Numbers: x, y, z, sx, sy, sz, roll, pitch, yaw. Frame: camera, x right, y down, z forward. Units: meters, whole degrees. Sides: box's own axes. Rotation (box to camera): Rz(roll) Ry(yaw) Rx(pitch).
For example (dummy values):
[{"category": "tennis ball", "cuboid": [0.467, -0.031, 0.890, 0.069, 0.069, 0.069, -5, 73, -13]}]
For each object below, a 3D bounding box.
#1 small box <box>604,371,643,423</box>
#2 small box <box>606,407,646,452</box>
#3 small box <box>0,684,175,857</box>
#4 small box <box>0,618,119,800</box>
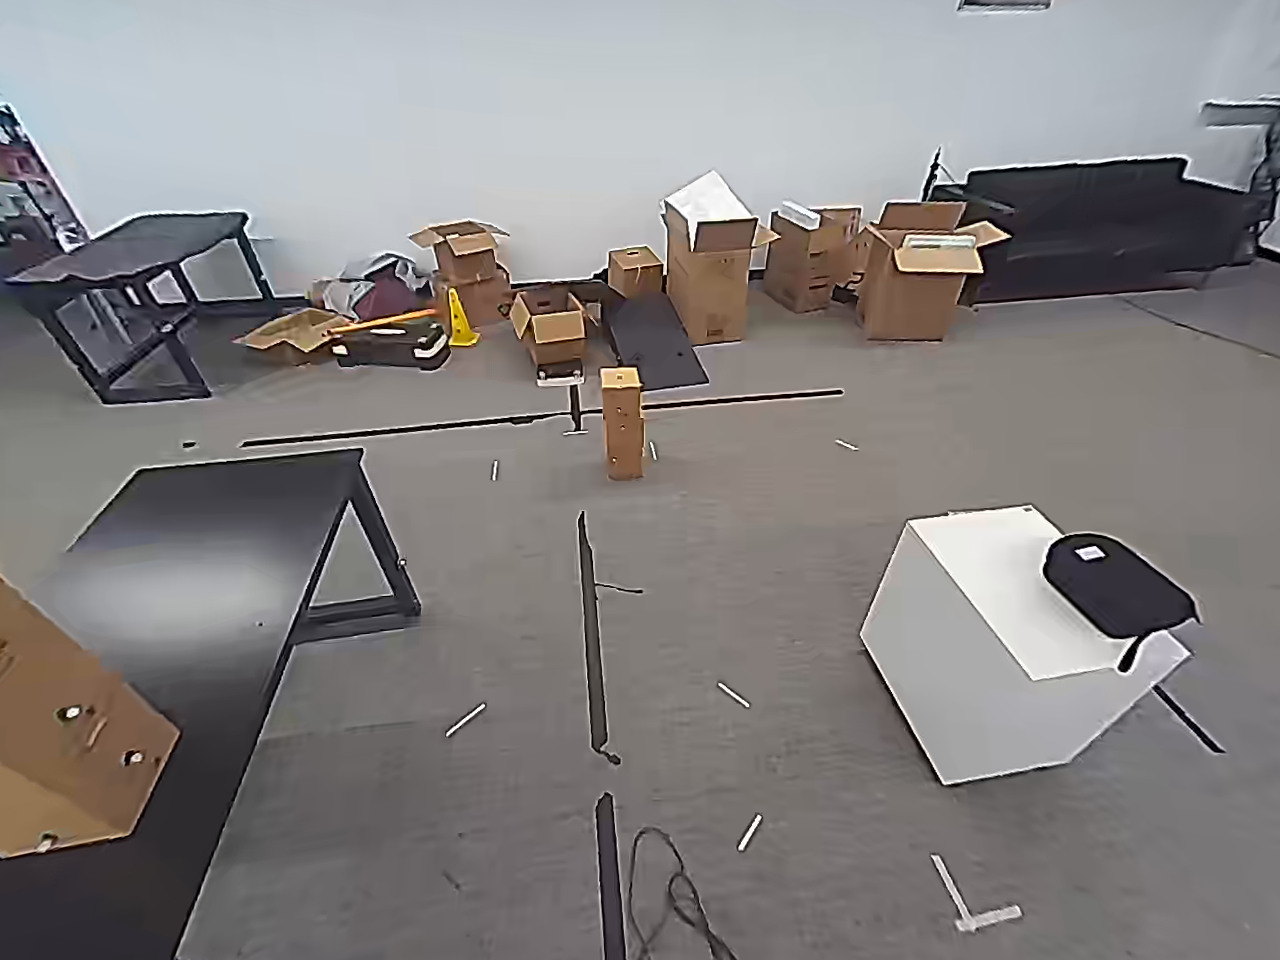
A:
[{"category": "small box", "cuboid": [-0.078, -0.374, 2.436, 0.168, 0.176, 0.179, -3, 40, -5]}, {"category": "small box", "cuboid": [-0.067, -0.244, 2.534, 0.179, 0.176, 0.168, -4, 39, -7]}, {"category": "small box", "cuboid": [-0.868, 0.437, 0.817, 0.179, 0.176, 0.168, -6, 39, -8]}, {"category": "small box", "cuboid": [-0.871, 0.309, 0.712, 0.179, 0.176, 0.168, -6, 40, -7]}]
